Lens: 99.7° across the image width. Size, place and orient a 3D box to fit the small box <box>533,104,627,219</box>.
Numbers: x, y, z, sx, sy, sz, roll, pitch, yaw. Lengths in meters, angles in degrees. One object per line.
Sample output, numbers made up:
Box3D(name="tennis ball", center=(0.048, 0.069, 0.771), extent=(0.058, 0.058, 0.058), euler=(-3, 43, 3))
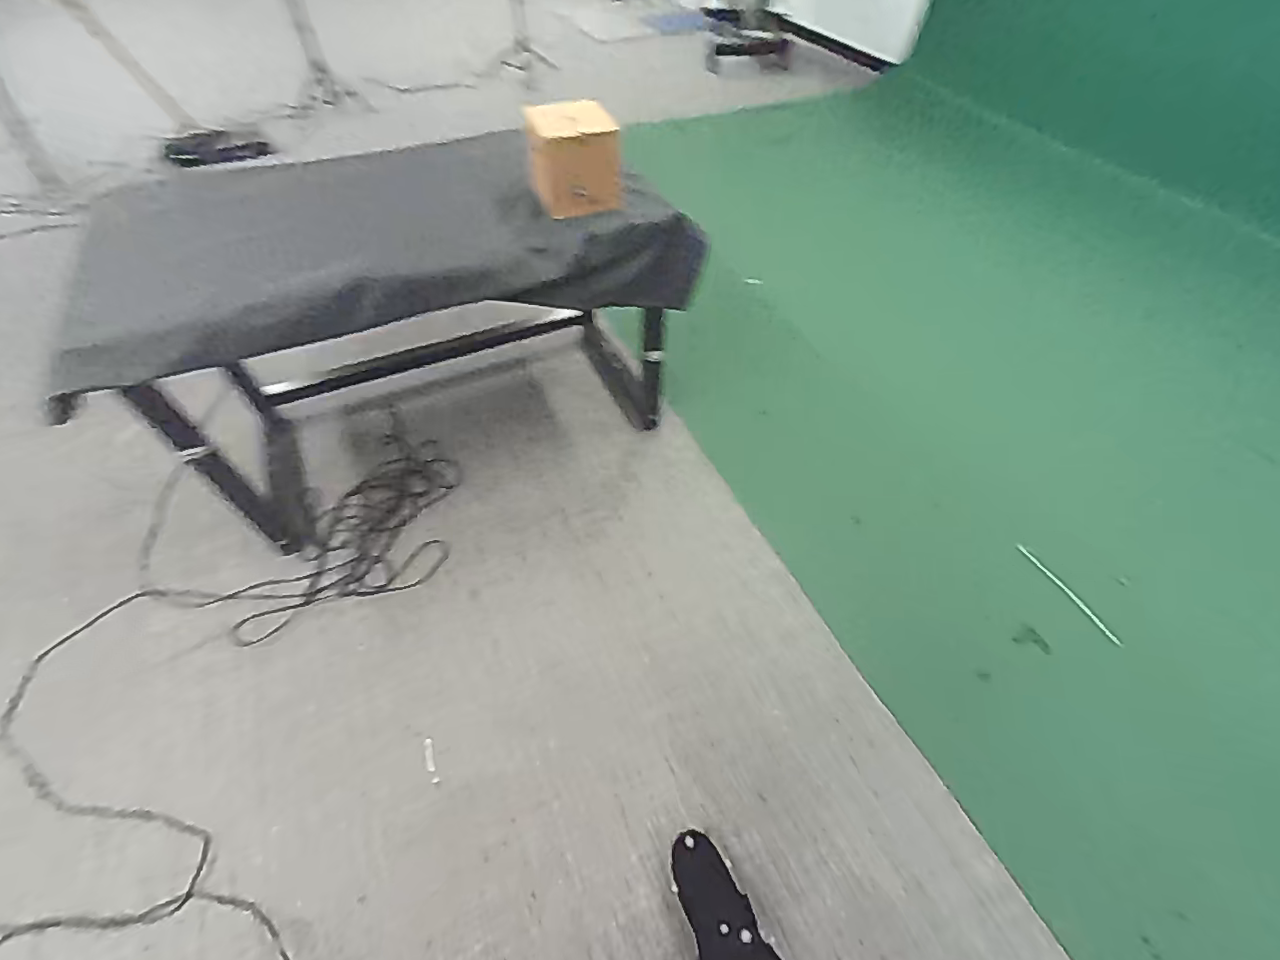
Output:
Box3D(name="small box", center=(-0.134, -0.718, 1.220), extent=(0.168, 0.176, 0.179), euler=(-17, 54, -13))
